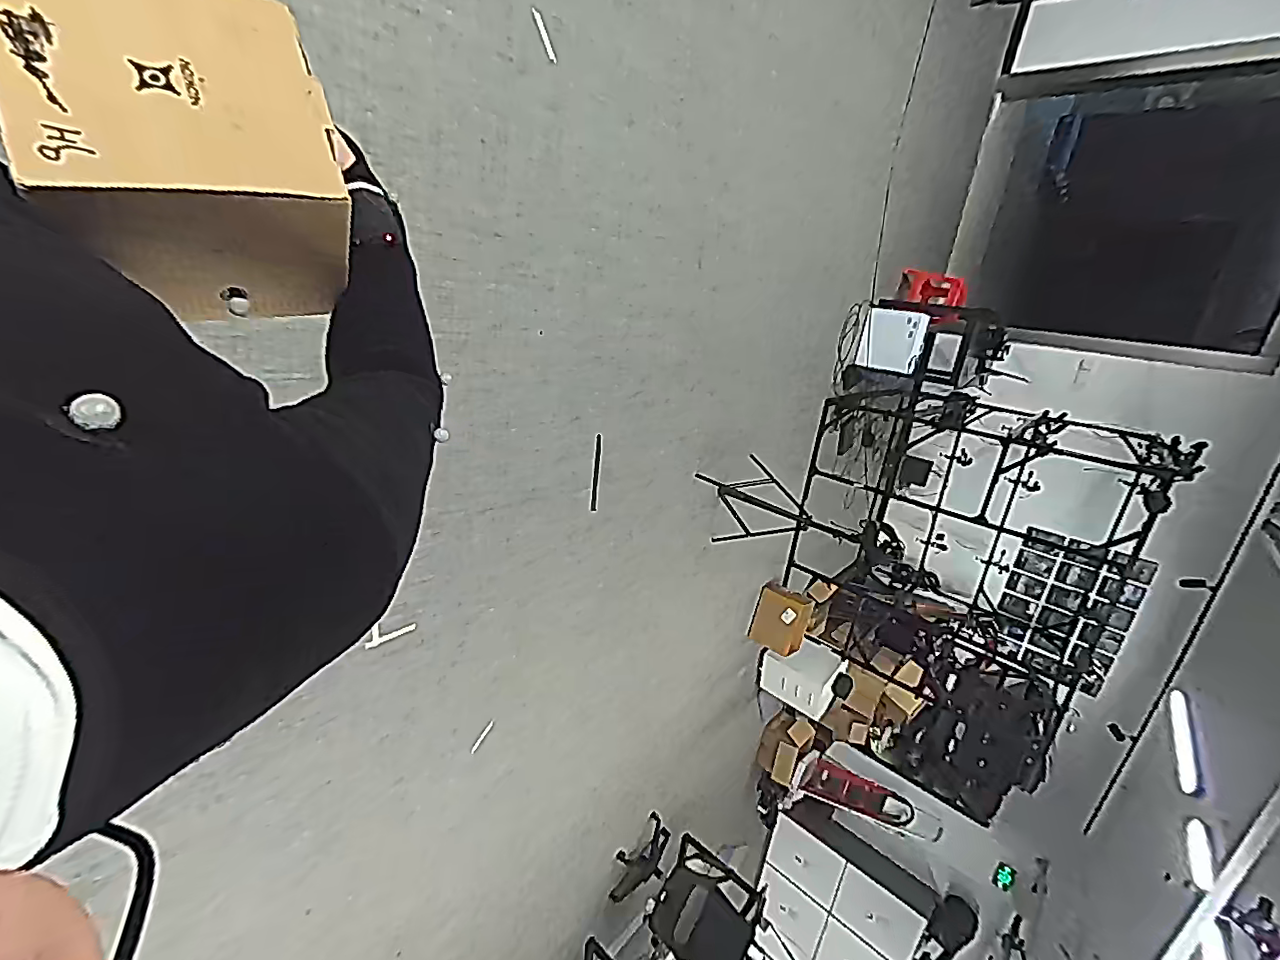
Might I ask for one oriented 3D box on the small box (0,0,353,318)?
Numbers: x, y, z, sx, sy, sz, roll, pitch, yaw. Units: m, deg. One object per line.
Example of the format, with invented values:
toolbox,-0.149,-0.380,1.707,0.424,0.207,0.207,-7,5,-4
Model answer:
small box,-0.355,-0.249,0.442,0.179,0.176,0.168,-15,83,-33
